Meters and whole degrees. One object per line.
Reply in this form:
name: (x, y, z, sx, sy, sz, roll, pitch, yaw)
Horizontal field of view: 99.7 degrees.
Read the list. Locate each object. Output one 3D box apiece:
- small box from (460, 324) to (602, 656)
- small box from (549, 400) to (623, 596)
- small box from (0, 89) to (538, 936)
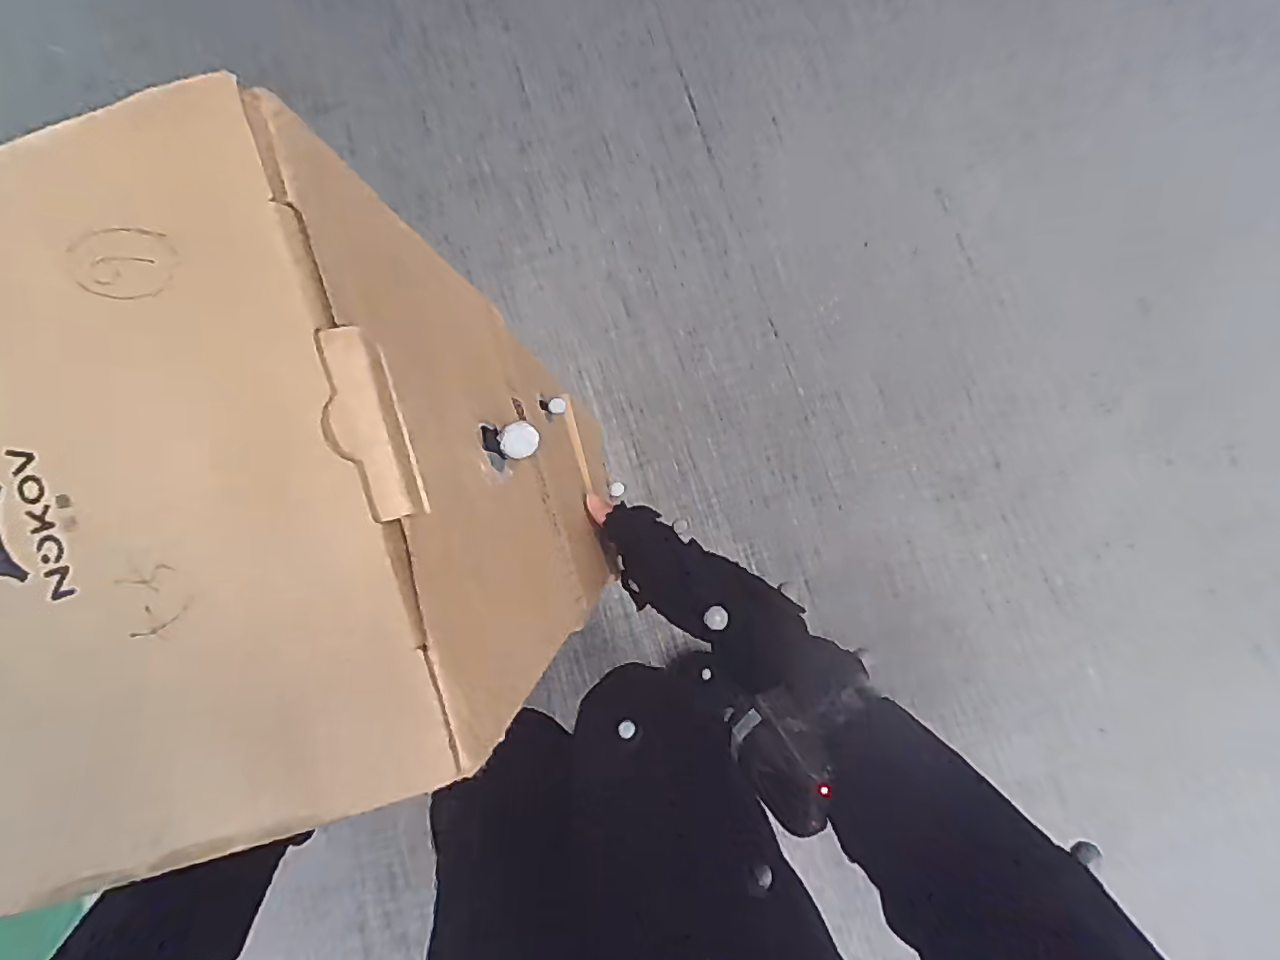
small box: (-0.135, 0.024, 0.361, 0.168, 0.176, 0.179, -18, 90, 5)
small box: (-0.124, 0.033, 0.523, 0.179, 0.176, 0.168, -14, 89, 3)
small box: (-0.148, 0.018, 0.198, 0.179, 0.176, 0.168, -17, 88, 4)
